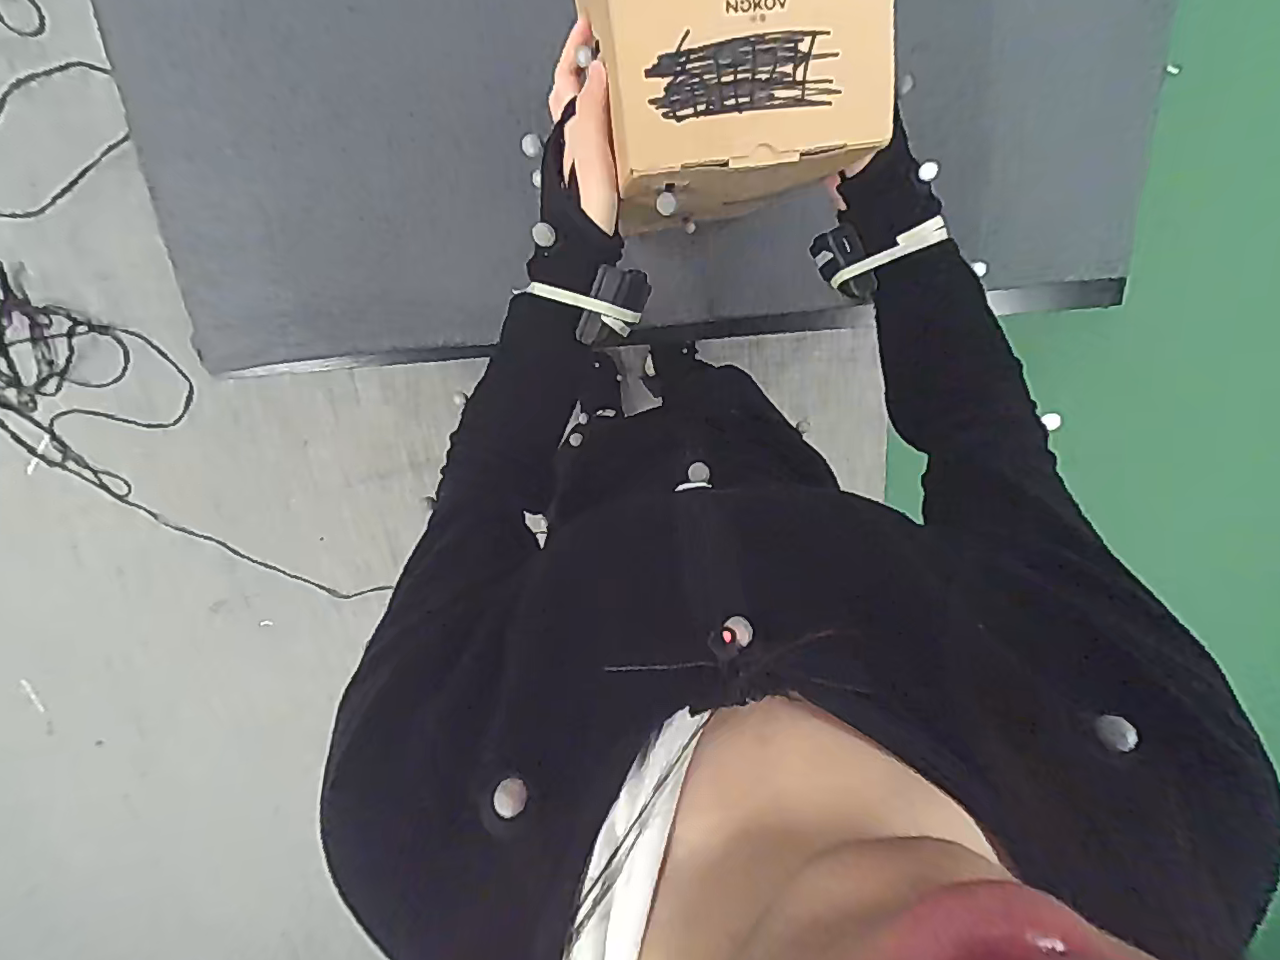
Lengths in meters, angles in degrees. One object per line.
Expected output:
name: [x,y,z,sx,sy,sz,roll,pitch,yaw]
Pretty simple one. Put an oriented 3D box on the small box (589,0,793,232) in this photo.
small box: [0.042,-0.370,0.549,0.168,0.176,0.179,-10,106,-2]
